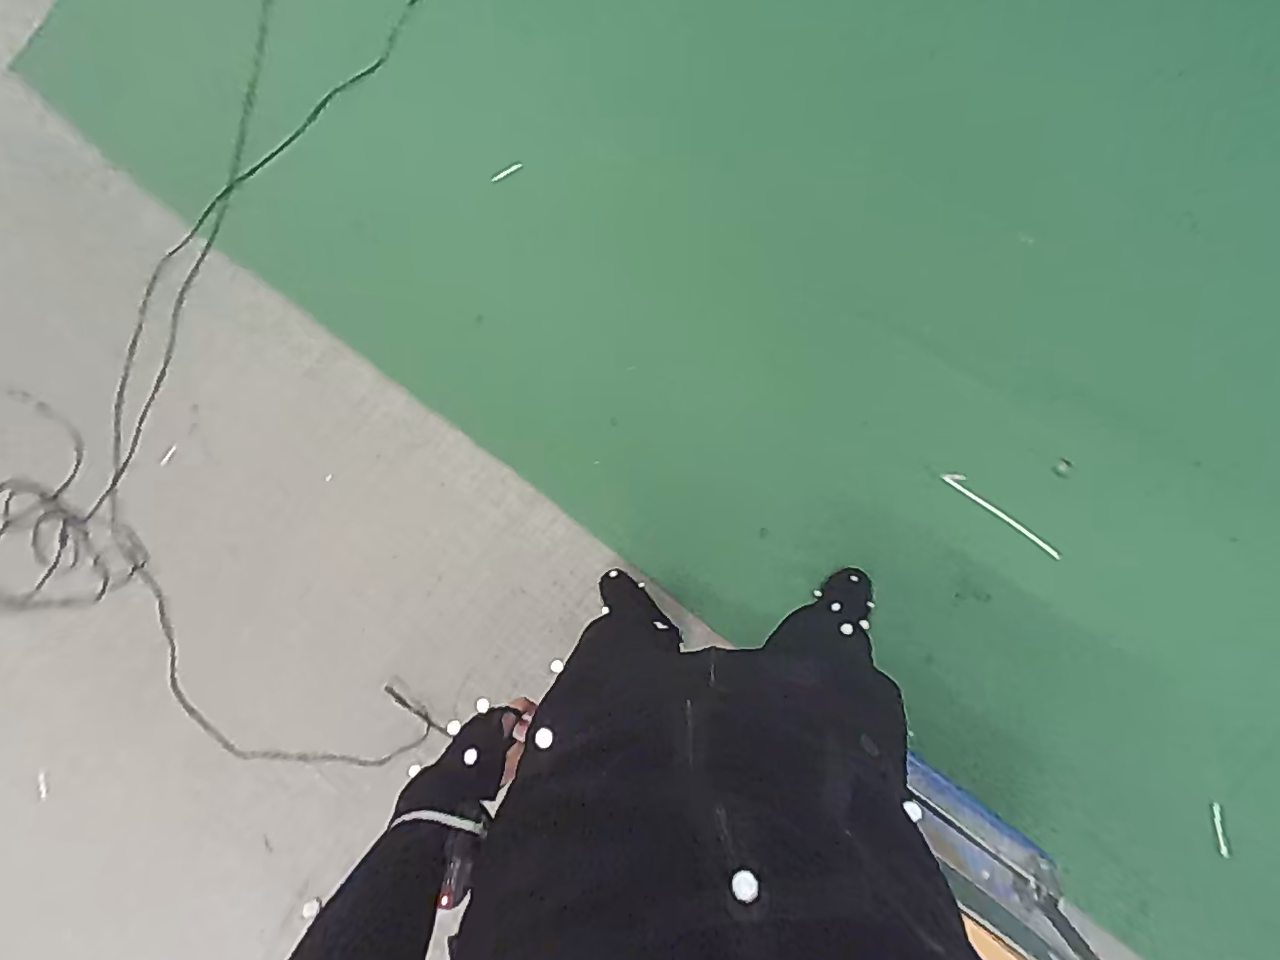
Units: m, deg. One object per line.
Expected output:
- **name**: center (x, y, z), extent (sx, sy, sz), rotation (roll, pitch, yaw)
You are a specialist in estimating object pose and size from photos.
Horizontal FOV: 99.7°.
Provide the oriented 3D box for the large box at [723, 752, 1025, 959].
- **large box**: center (0.391, 0.823, 1.012), extent (0.320, 0.320, 0.408), rotation (34, 93, 10)
